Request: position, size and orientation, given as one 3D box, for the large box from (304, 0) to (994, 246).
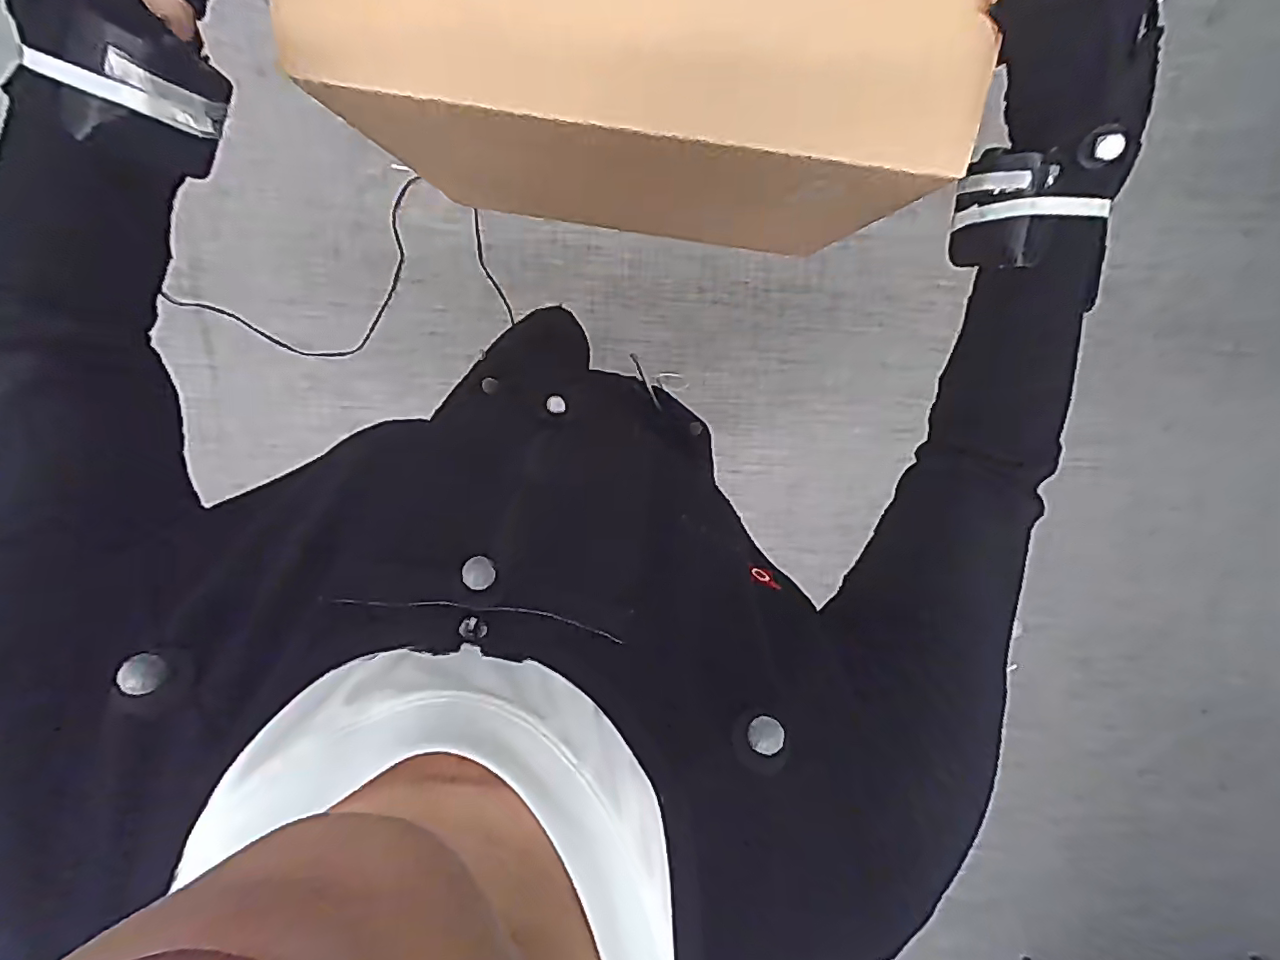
[{"bbox_3d":[0.015,-0.399,0.435,0.408,0.320,0.320,7,105,-2],"label":"large box"}]
